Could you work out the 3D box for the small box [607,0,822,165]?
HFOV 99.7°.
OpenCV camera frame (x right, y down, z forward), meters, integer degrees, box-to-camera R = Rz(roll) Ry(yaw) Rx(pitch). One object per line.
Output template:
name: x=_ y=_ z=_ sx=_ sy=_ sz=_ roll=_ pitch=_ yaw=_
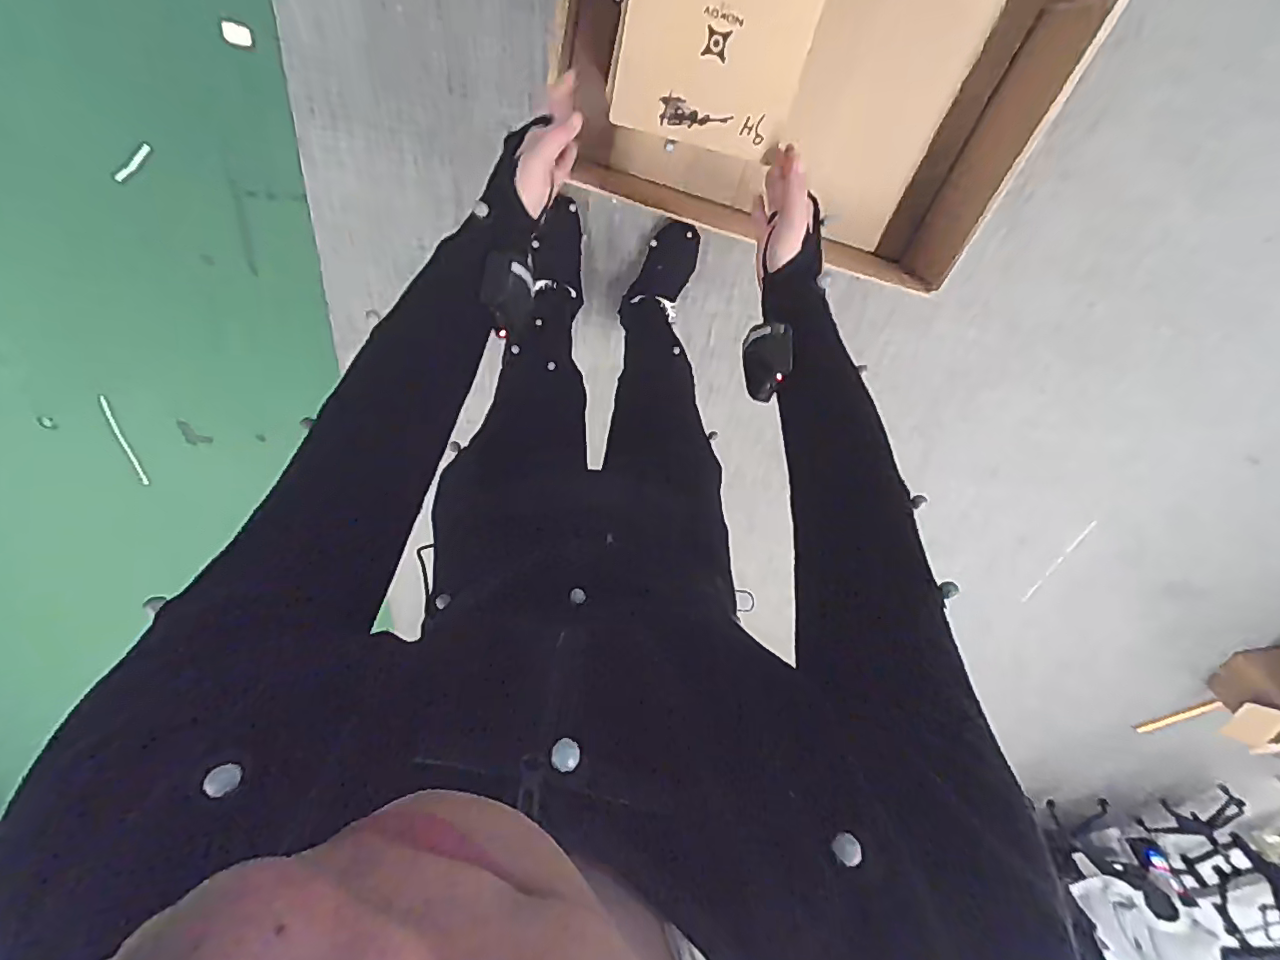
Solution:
small box: x=0.064 y=-0.441 z=0.533 sx=0.168 sy=0.176 sz=0.179 roll=10 pitch=128 yaw=-8
